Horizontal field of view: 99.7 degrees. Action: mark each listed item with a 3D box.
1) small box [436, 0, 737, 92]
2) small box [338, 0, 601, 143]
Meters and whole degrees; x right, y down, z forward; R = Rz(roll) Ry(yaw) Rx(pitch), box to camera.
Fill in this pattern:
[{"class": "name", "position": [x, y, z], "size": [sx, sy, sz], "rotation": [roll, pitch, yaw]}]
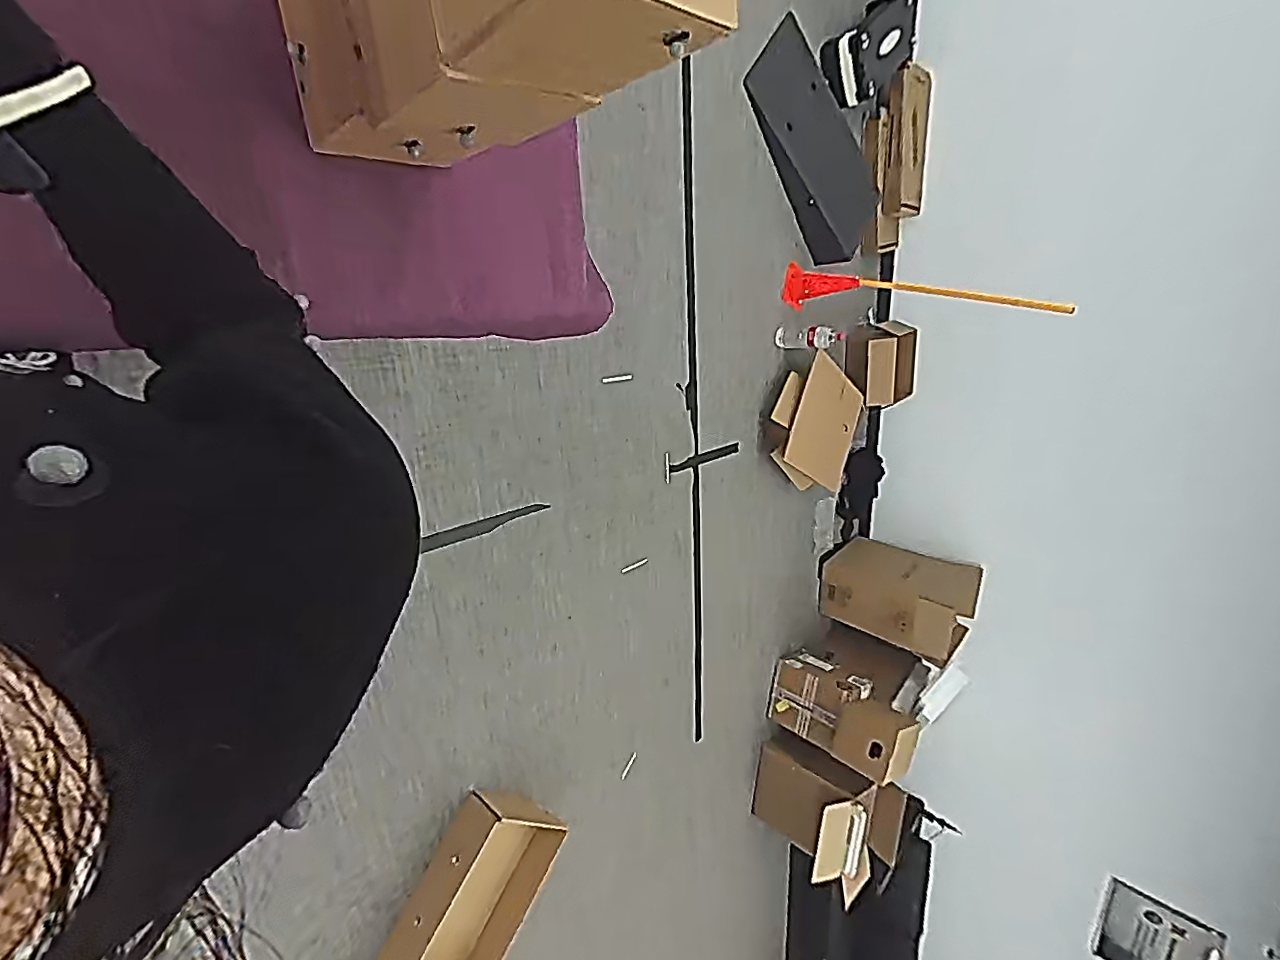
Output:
[{"class": "small box", "position": [-0.049, -0.419, 0.402], "size": [0.179, 0.176, 0.168], "rotation": [-24, 116, -40]}, {"class": "small box", "position": [-0.164, -0.440, 0.517], "size": [0.179, 0.176, 0.168], "rotation": [-25, 117, -40]}]
